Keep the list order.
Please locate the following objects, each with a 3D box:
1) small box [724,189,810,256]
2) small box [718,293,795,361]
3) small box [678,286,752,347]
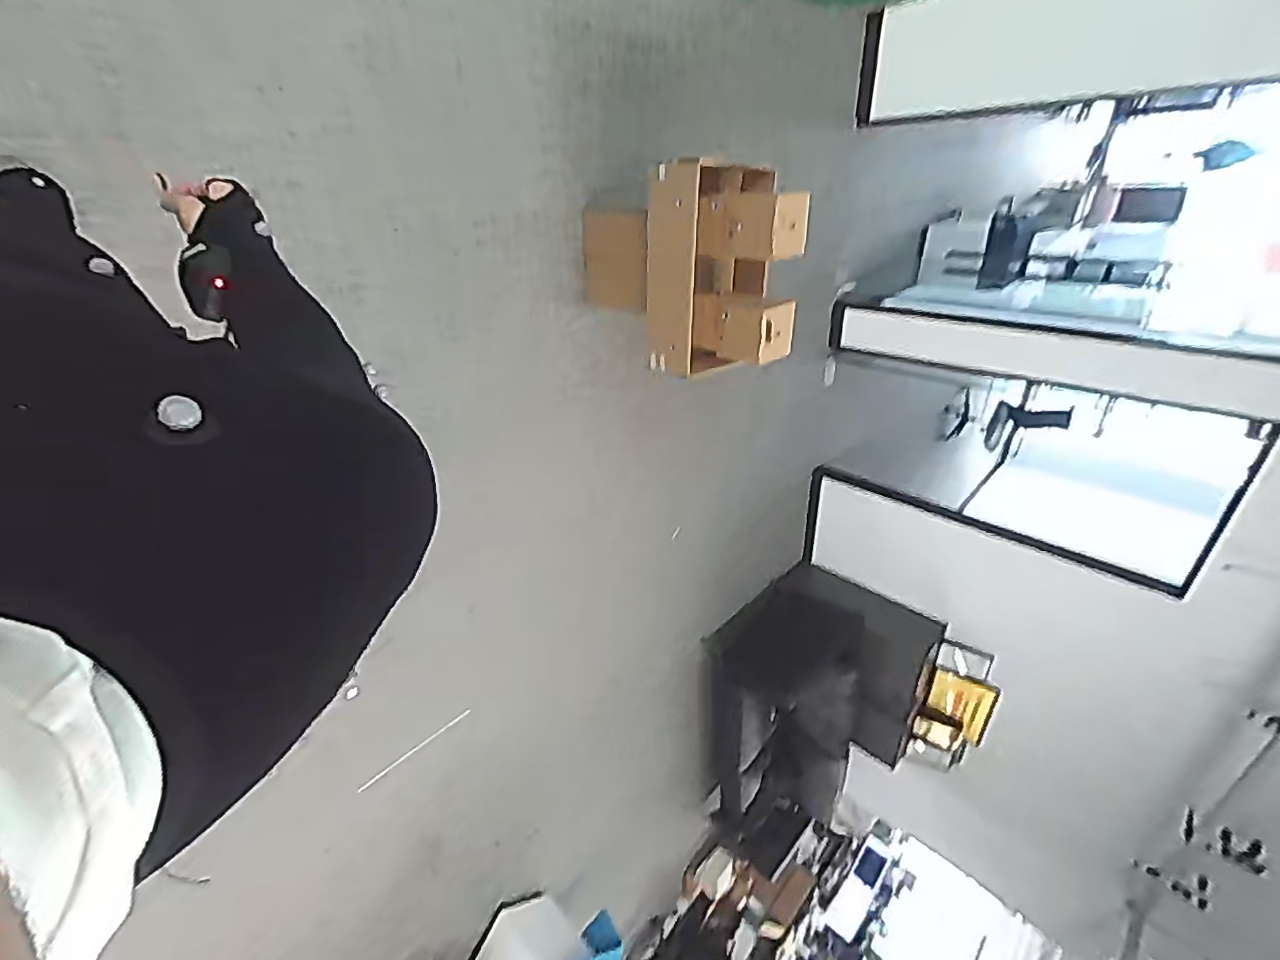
[{"bbox_3d":[0.365,-0.750,1.565,0.179,0.176,0.168,-26,126,-37],"label":"small box"},{"bbox_3d":[0.360,-0.486,1.699,0.179,0.176,0.168,-27,128,-37],"label":"small box"},{"bbox_3d":[0.250,-0.549,1.804,0.179,0.176,0.168,-21,124,-39],"label":"small box"}]
